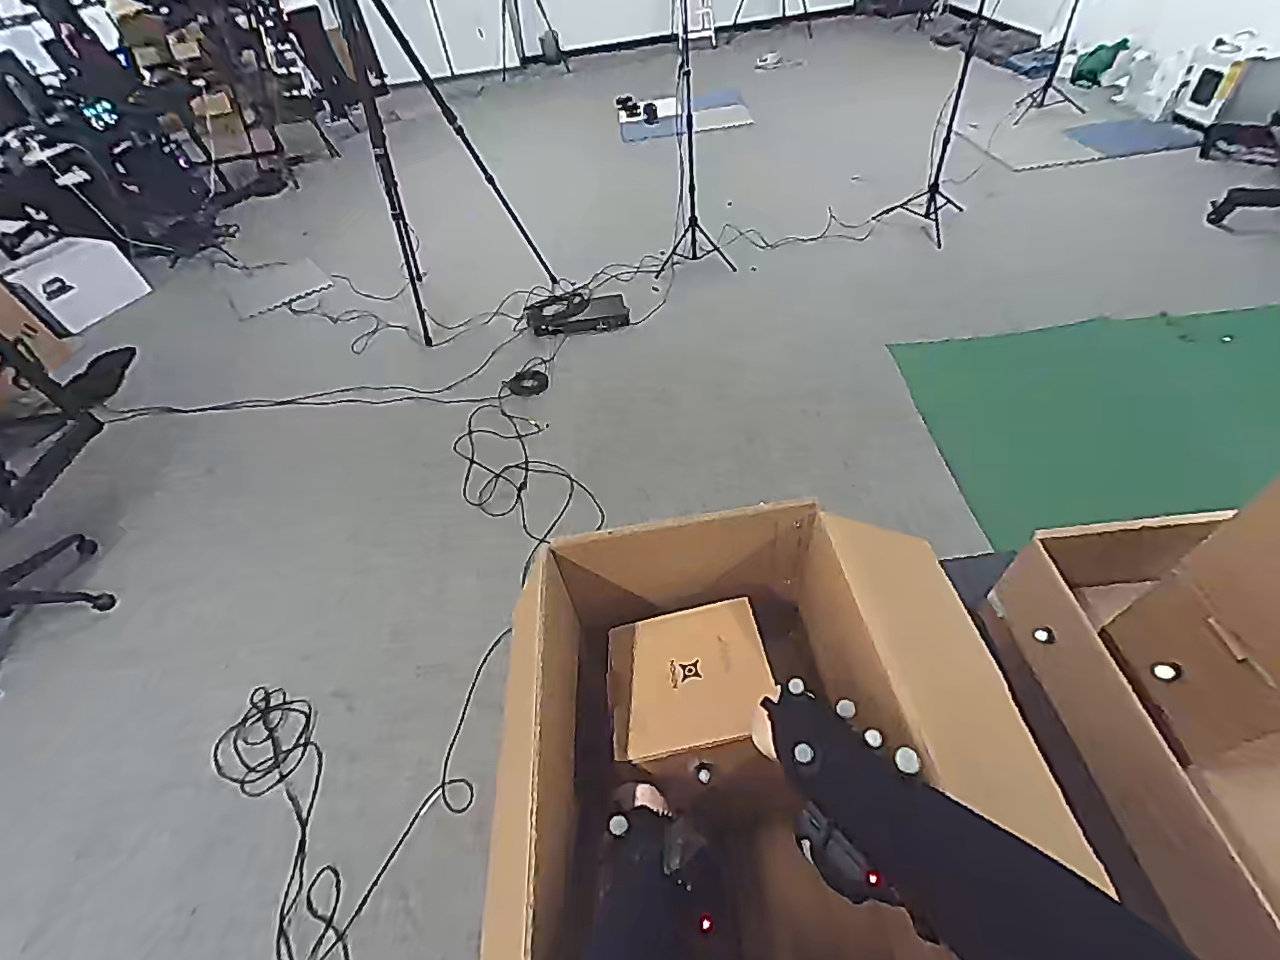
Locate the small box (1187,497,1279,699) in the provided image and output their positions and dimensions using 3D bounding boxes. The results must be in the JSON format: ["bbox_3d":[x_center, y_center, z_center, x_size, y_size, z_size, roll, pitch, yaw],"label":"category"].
[{"bbox_3d":[0.656,0.102,0.468,0.168,0.176,0.179,-6,49,3],"label":"small box"}]
